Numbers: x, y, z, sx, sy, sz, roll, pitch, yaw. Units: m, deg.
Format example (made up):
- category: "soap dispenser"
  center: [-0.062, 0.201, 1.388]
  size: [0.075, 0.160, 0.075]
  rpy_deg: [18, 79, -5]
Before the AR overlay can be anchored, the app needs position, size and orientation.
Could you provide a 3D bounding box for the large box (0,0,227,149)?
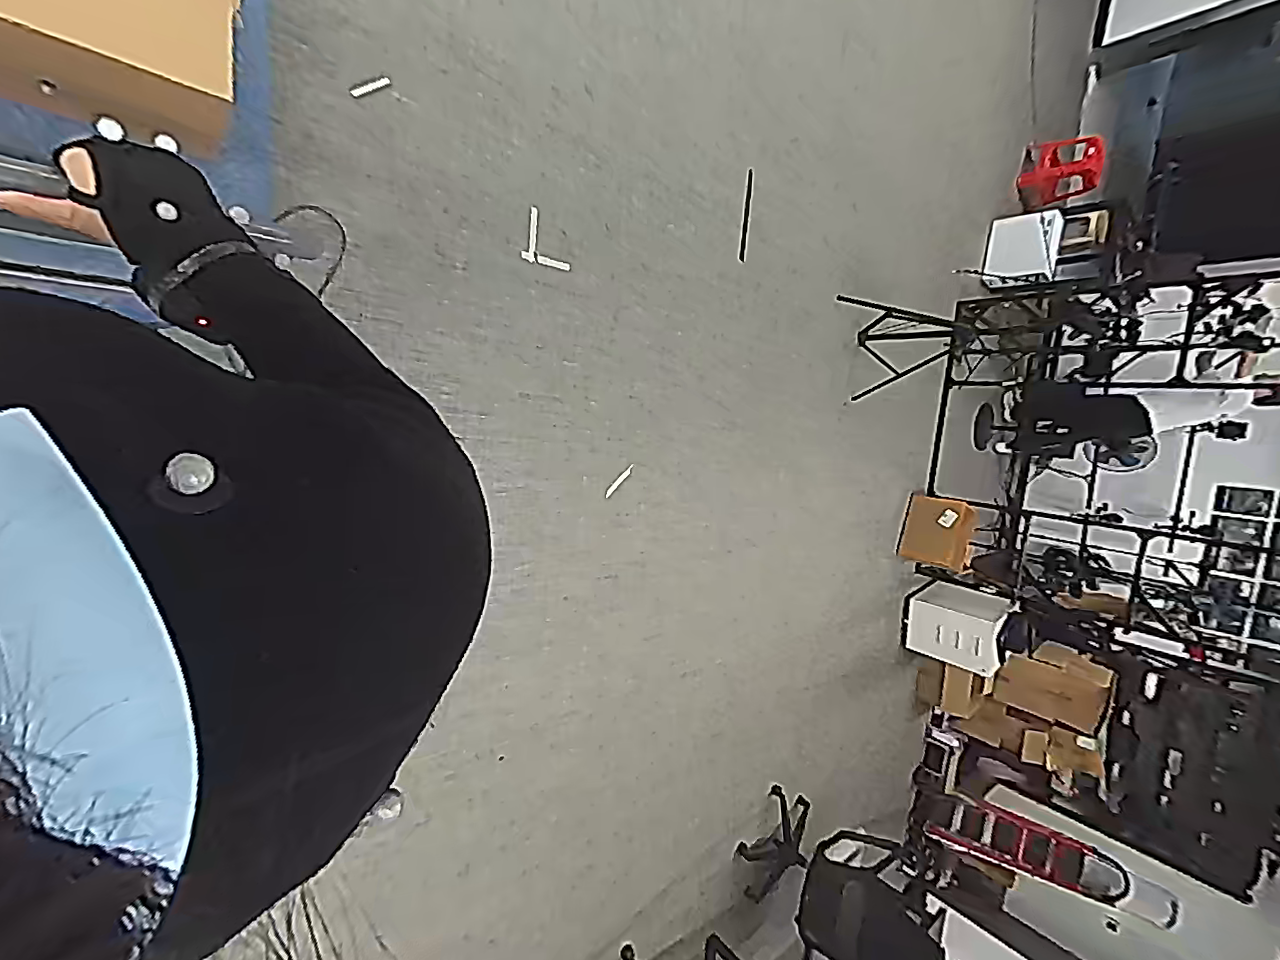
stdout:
- category: "large box"
  center: [-0.837, -0.731, 0.748]
  size: [0.408, 0.320, 0.320]
  rpy_deg: [-1, 98, -41]
